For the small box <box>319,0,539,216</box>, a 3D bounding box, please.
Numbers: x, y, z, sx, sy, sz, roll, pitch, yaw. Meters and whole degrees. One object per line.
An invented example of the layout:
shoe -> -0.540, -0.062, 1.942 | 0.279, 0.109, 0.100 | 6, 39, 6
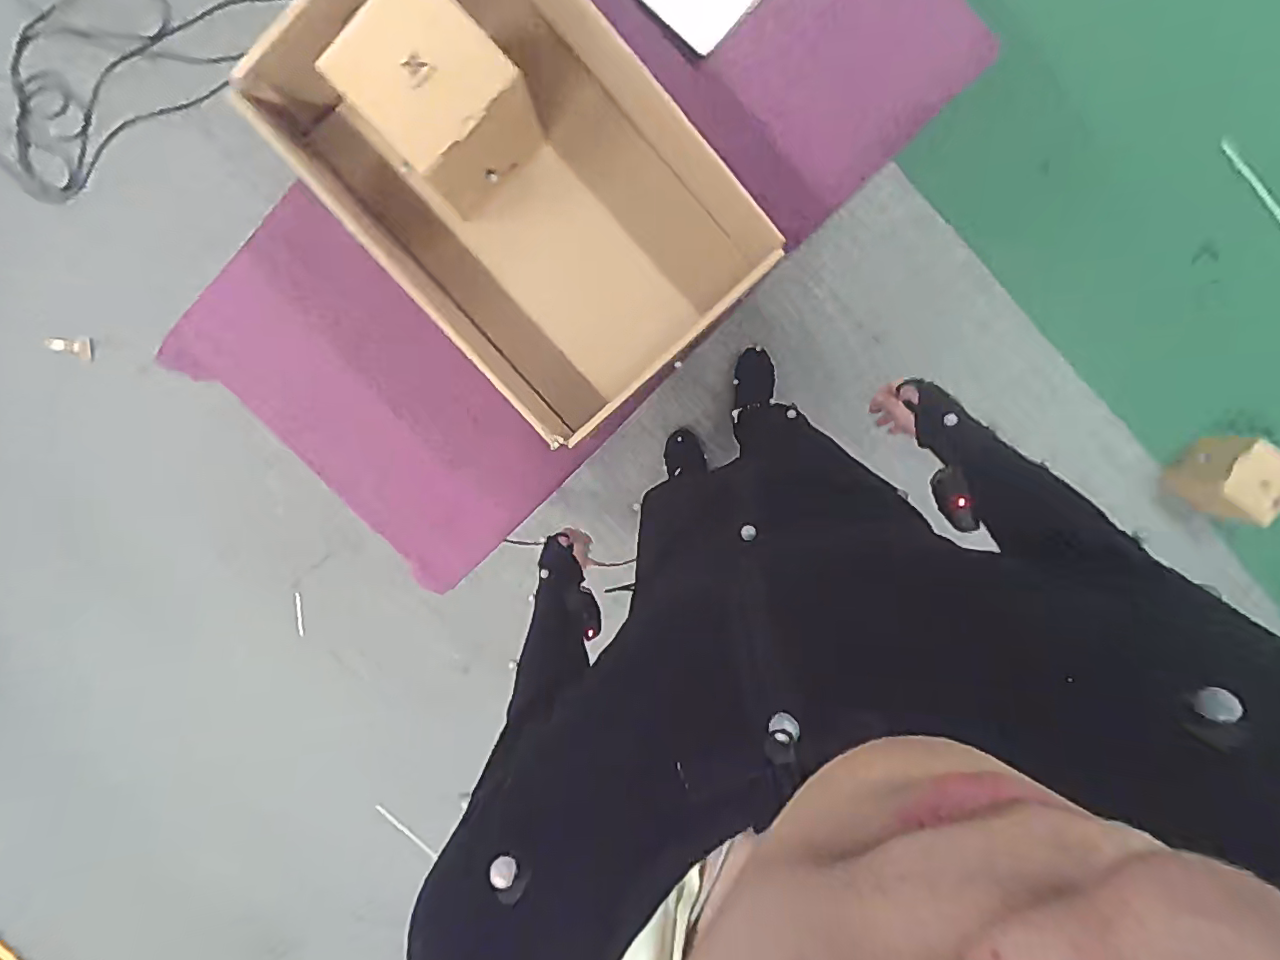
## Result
small box -> -0.258, -0.487, 0.707 | 0.179, 0.176, 0.168 | 45, 96, -5

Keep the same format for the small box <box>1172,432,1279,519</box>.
small box -> 1.638, -0.017, 1.478 | 0.179, 0.176, 0.168 | 35, 97, -2
